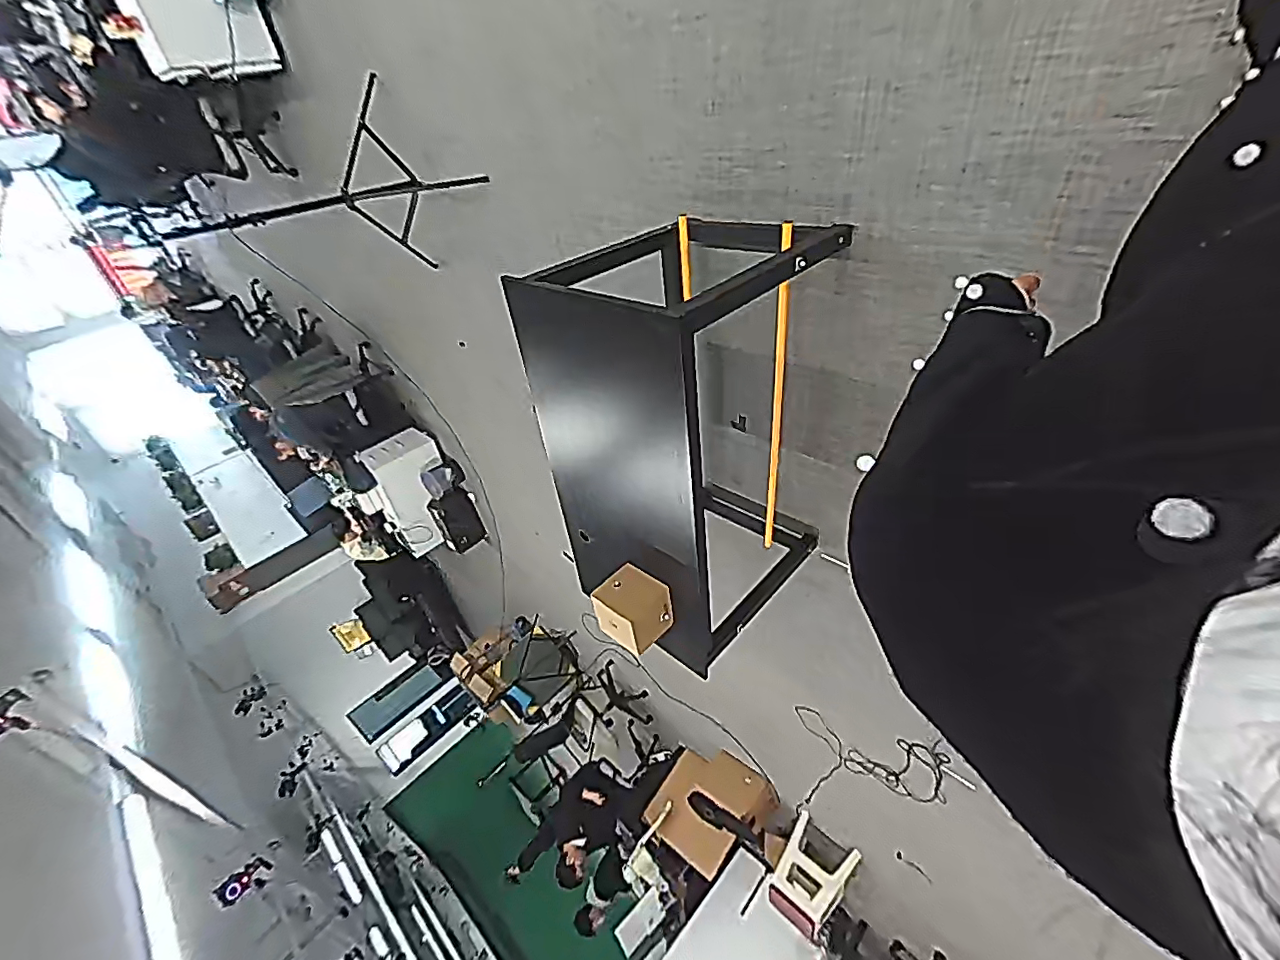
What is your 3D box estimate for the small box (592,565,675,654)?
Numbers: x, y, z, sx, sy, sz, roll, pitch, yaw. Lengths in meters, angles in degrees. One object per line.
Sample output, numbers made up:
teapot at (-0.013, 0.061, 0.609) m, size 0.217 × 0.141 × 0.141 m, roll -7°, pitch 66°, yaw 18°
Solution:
small box at (-0.016, 0.385, 1.647) m, size 0.179 × 0.176 × 0.168 m, roll 23°, pitch 138°, yaw 38°
